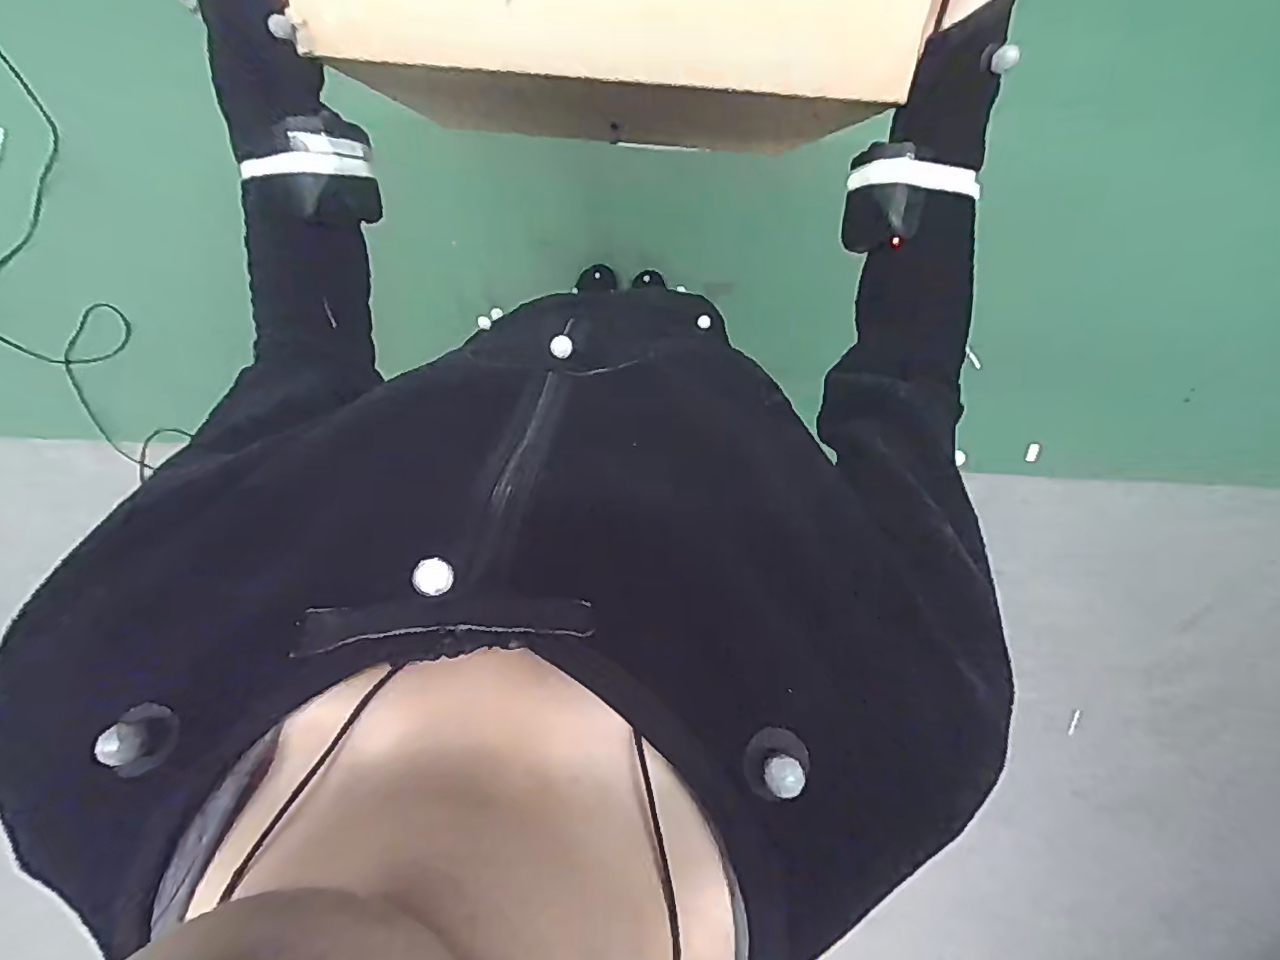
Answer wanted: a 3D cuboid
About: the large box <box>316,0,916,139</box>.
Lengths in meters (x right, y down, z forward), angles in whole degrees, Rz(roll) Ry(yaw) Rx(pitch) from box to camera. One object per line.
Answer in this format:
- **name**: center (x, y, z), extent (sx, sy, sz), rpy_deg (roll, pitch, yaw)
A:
- **large box**: center (-0.010, -0.481, 0.441), extent (0.408, 0.320, 0.320), rpy_deg (2, 115, -3)
